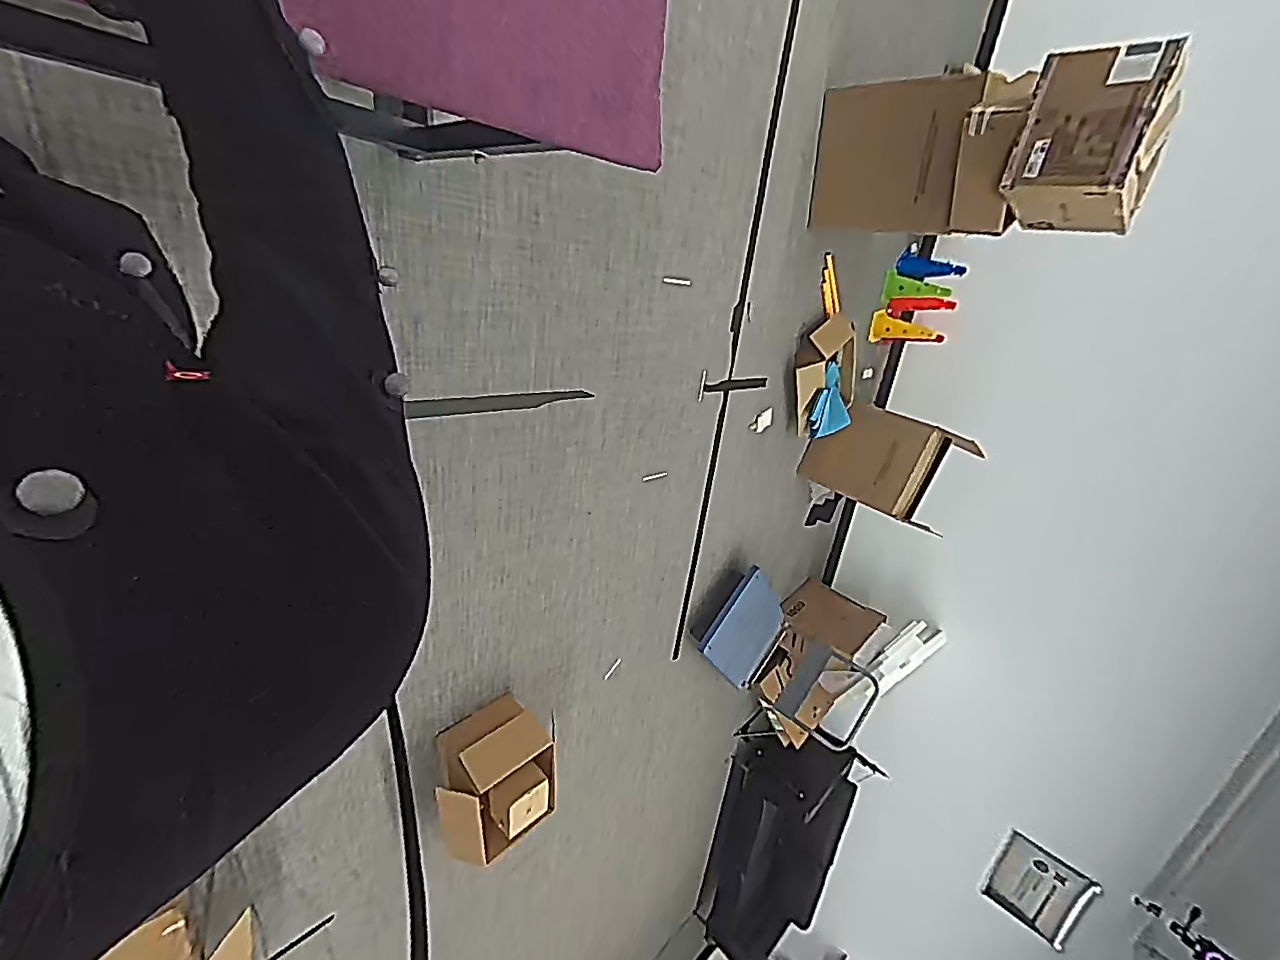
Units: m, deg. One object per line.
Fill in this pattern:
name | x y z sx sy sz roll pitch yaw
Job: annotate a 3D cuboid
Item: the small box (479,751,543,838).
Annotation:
small box | -0.472 1.139 1.971 0.168 0.176 0.179 -17 122 -44
